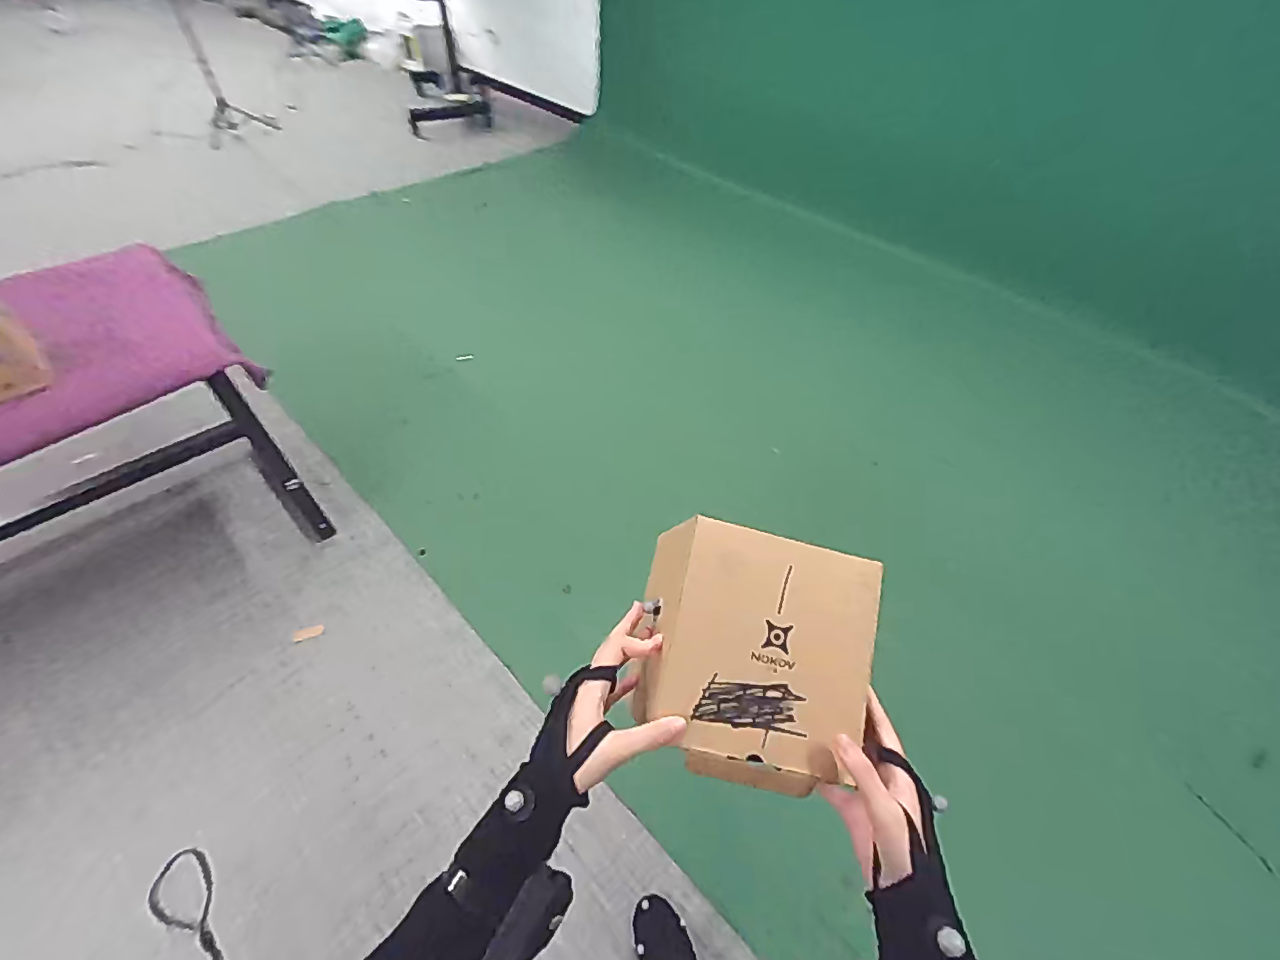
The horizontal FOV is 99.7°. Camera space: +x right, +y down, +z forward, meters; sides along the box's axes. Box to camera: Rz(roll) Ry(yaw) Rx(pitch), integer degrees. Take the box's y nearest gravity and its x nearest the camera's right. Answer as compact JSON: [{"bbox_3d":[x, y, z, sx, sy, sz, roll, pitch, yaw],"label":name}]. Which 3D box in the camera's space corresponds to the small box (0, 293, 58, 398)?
[{"bbox_3d":[-1.300,-0.266,1.052,0.168,0.176,0.179,-34,58,-28],"label":"small box"}]

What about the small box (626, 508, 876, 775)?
[{"bbox_3d":[0.089,0.141,0.504,0.168,0.176,0.179,15,76,-6],"label":"small box"}]
